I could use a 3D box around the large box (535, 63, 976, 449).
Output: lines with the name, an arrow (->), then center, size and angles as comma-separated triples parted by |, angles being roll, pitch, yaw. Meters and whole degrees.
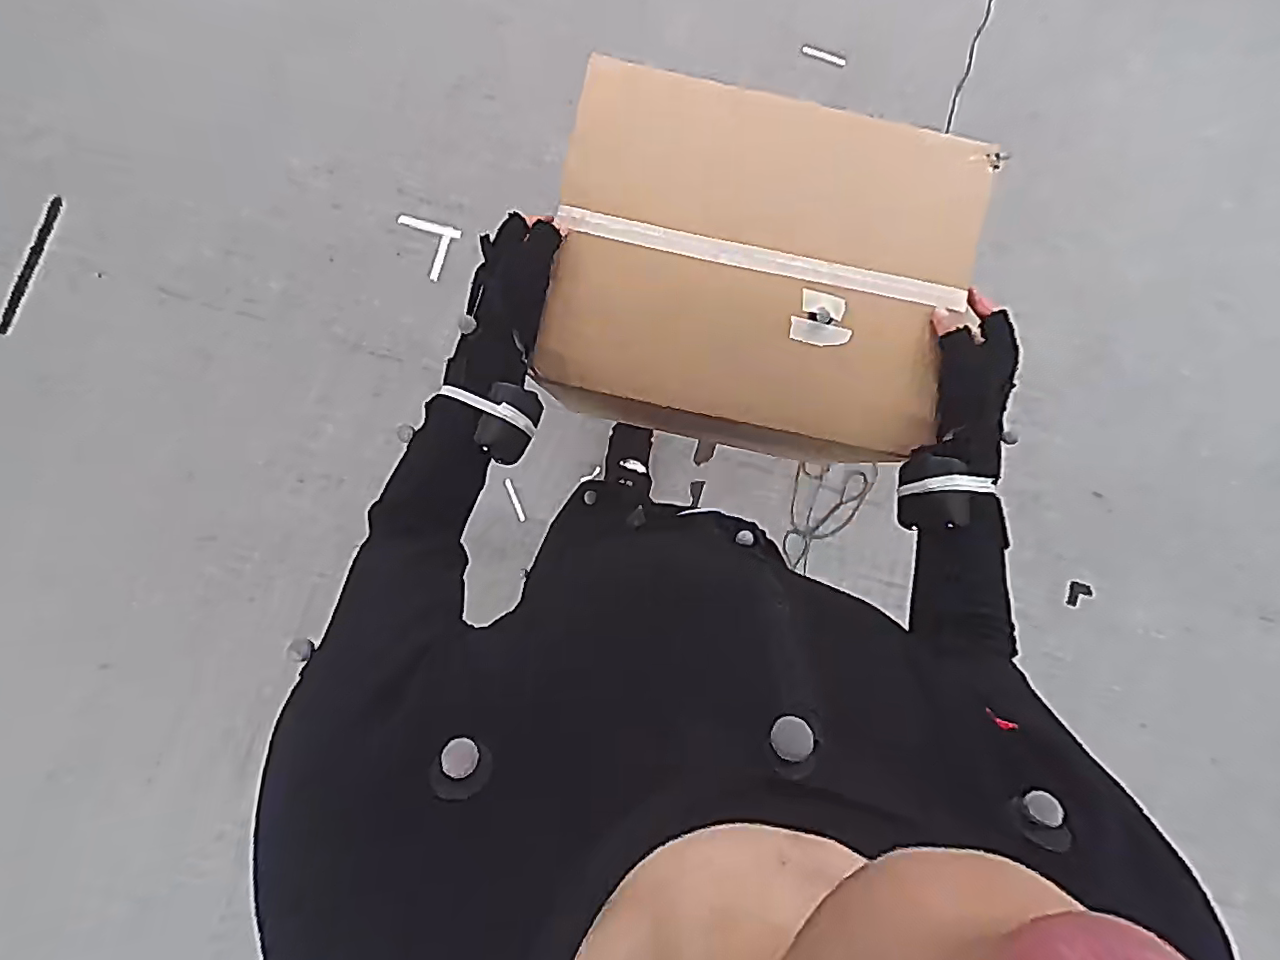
large box -> 0.111, -0.230, 0.689 | 0.408, 0.320, 0.320 | 12, 92, -2
